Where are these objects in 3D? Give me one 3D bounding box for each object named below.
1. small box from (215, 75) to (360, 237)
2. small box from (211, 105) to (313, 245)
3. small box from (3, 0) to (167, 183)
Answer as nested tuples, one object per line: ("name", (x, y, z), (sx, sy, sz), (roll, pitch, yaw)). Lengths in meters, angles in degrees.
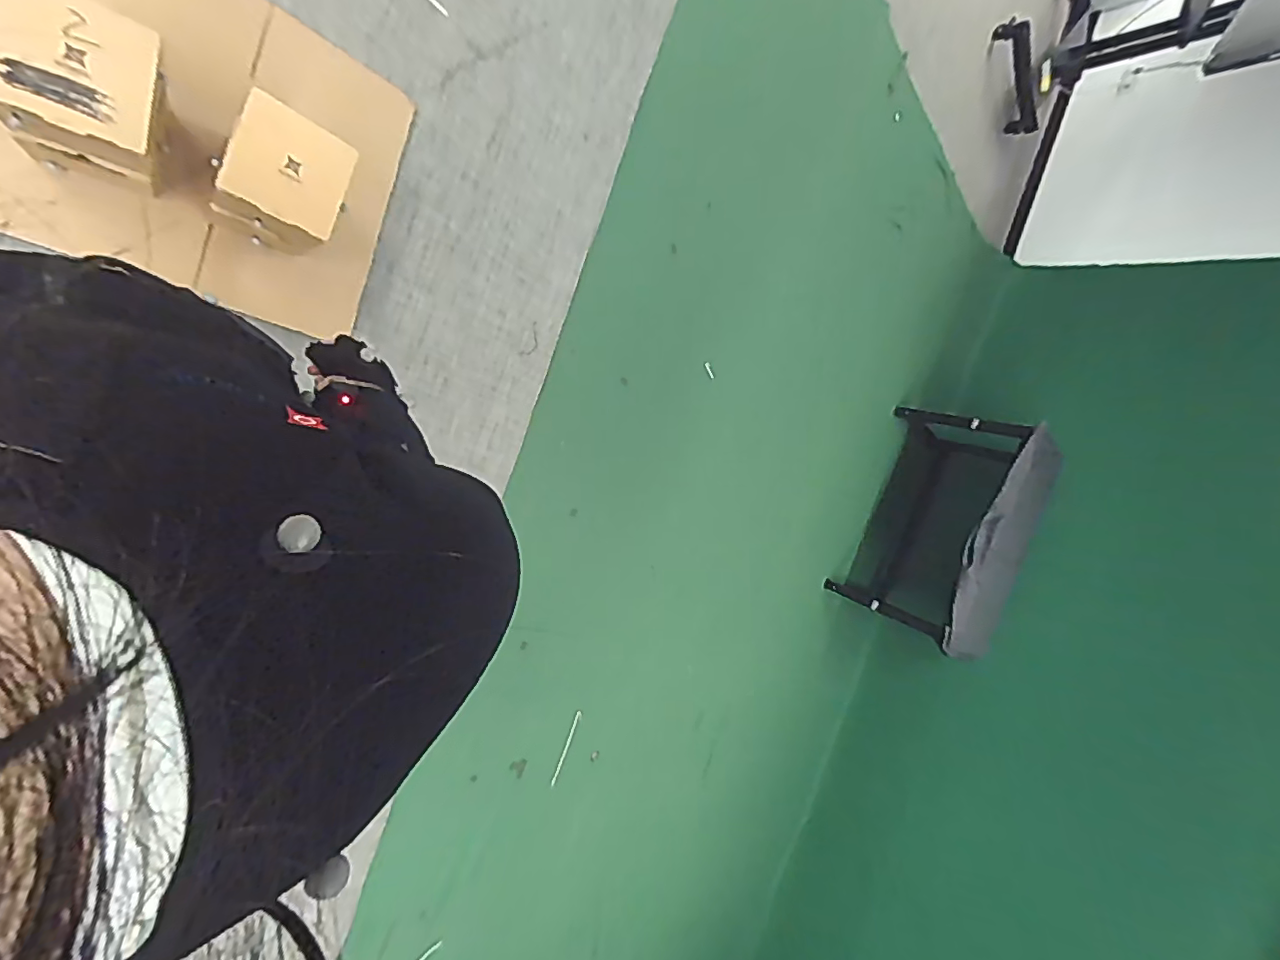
("small box", (-0.632, -0.559, 0.963), (0.168, 0.176, 0.179), (19, 92, -43))
("small box", (-0.738, -0.593, 1.081), (0.168, 0.176, 0.179), (15, 95, -41))
("small box", (-0.917, -0.630, 0.909), (0.168, 0.176, 0.179), (9, 98, -42))
